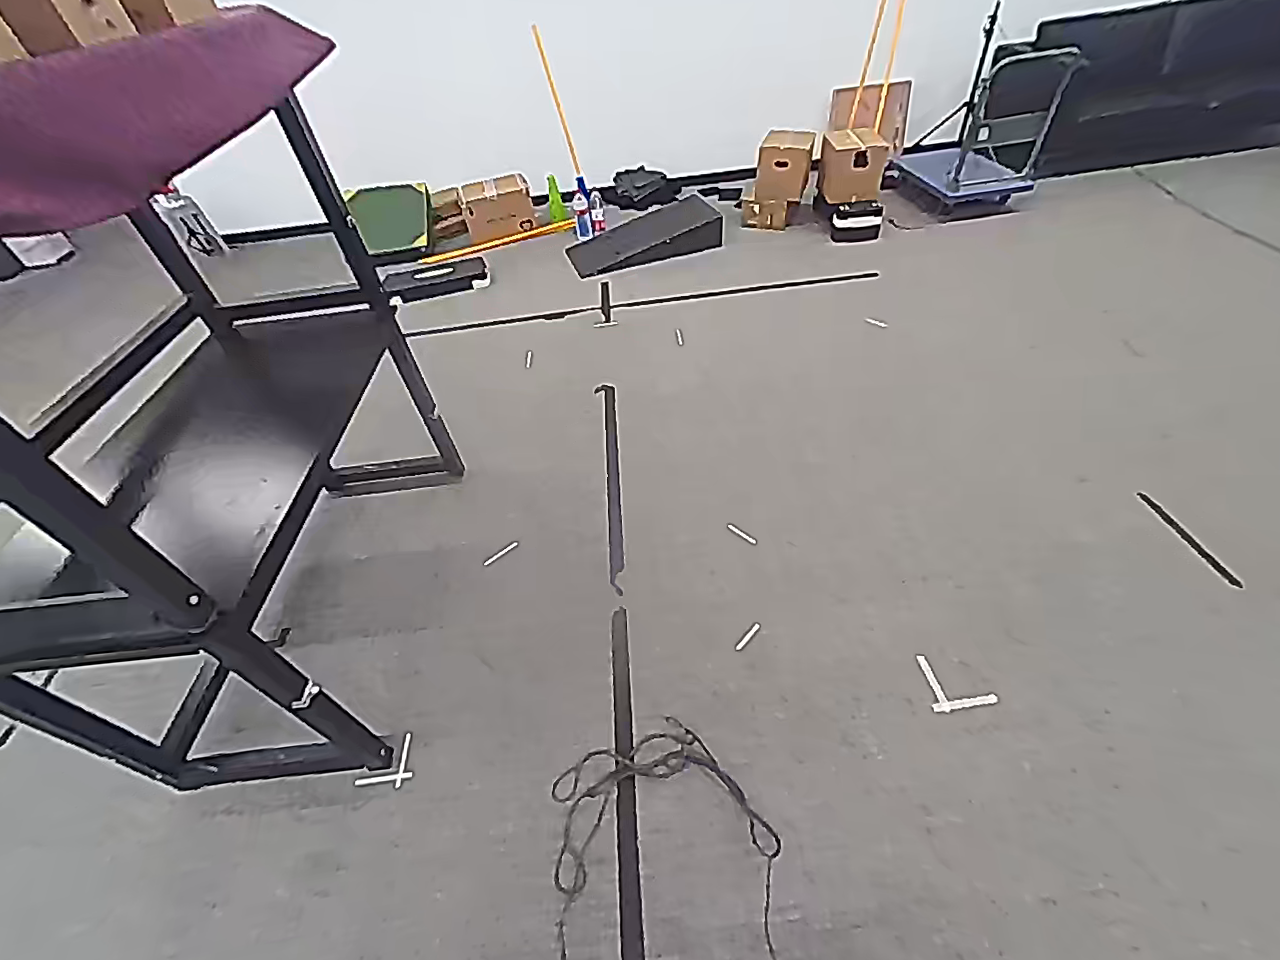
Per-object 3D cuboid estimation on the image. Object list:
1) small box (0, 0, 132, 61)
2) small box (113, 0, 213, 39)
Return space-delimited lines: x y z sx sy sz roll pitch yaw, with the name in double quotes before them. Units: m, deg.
"small box" -0.982 -0.775 0.847 0.179 0.176 0.168 -8 45 0
"small box" -0.985 -0.974 1.047 0.168 0.176 0.179 -6 46 4
